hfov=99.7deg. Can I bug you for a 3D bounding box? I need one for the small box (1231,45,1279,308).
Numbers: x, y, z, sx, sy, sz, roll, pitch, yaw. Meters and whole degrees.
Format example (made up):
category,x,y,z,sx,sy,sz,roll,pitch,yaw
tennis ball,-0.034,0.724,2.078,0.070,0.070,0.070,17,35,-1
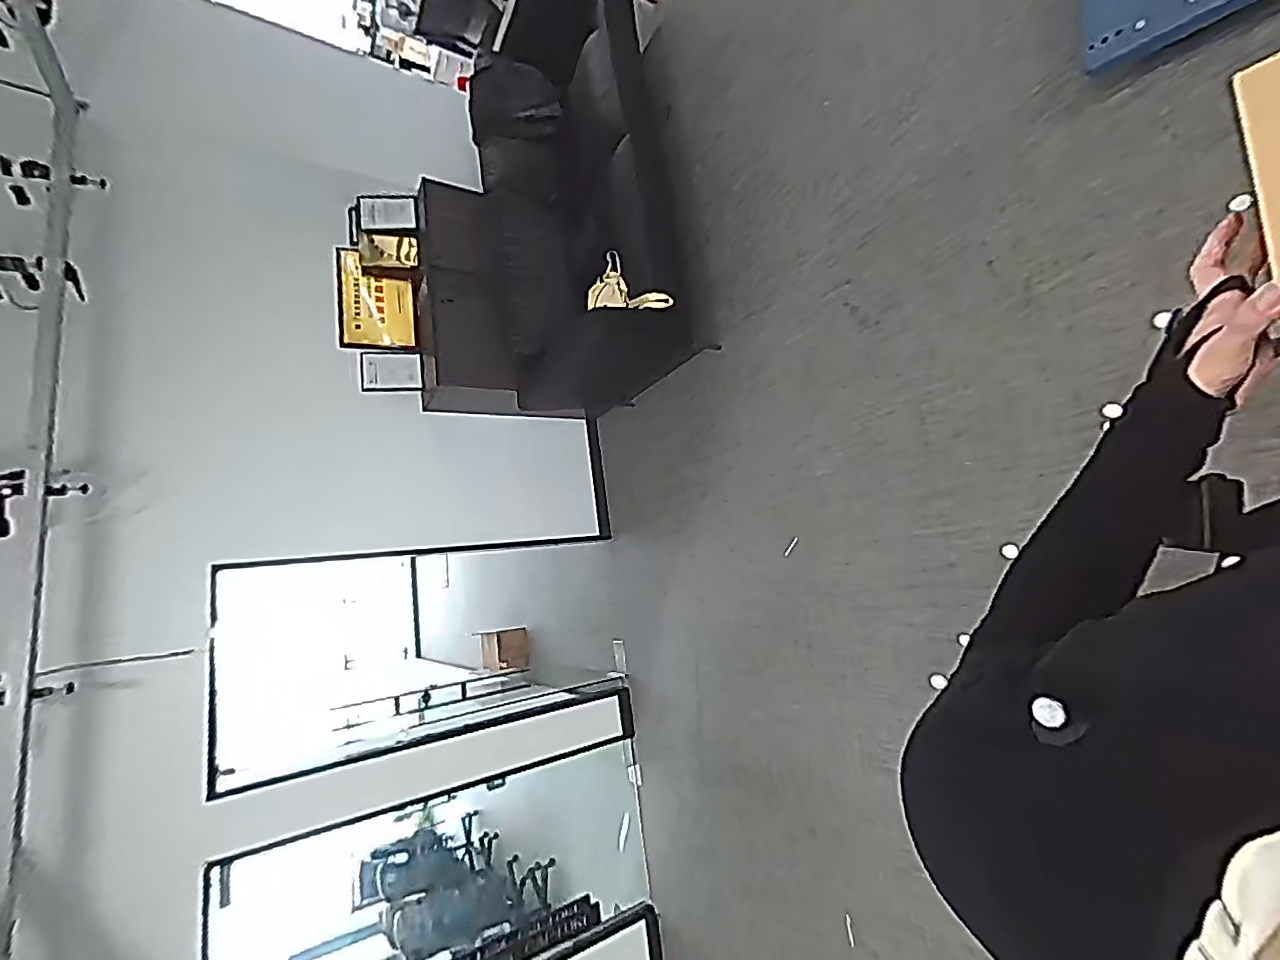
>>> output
category,x,y,z,sx,sy,sz,roll,pitch,yaw
small box,0.536,-0.217,0.361,0.168,0.176,0.179,-11,85,54
